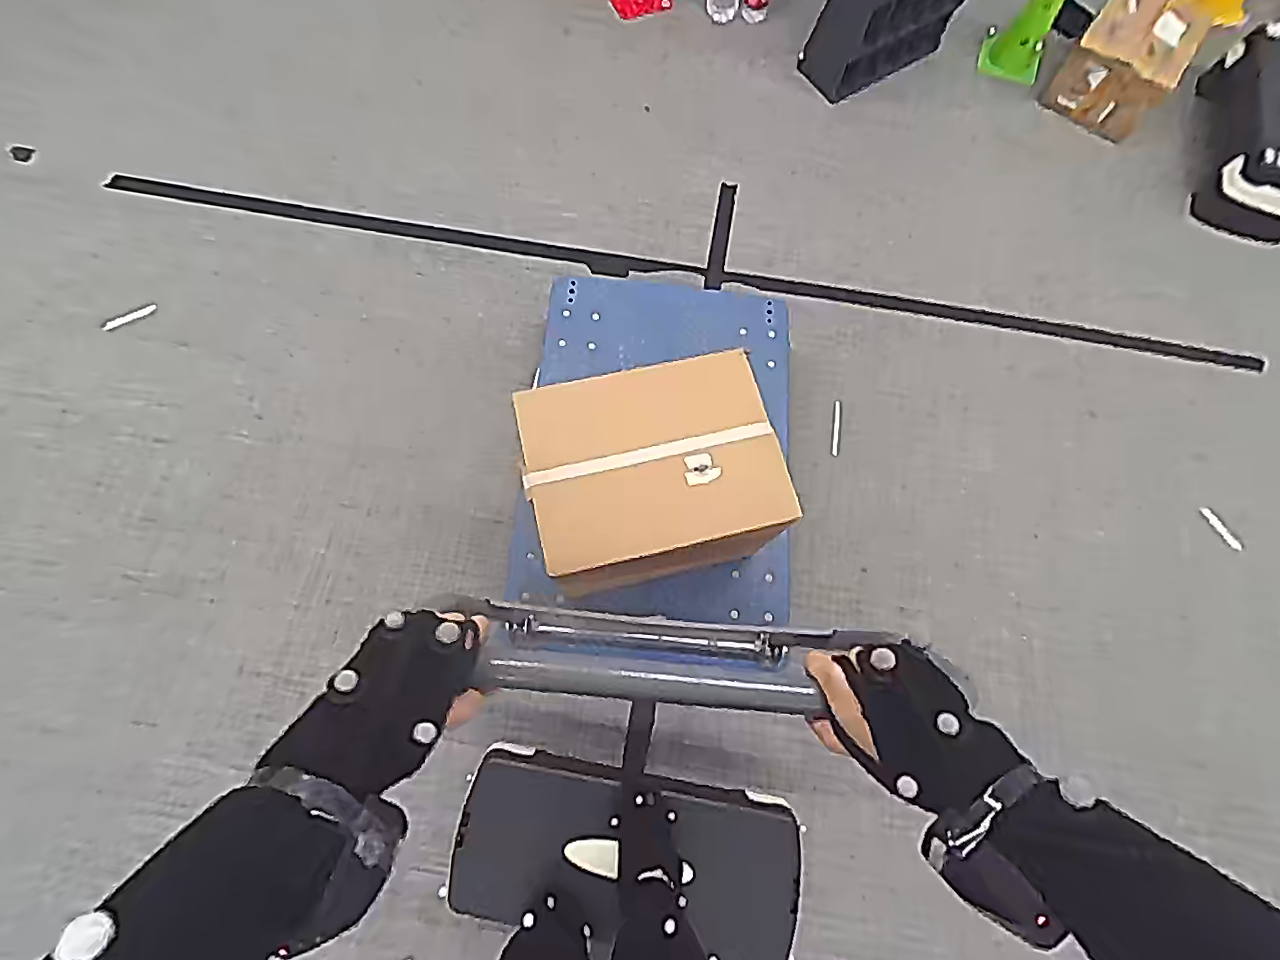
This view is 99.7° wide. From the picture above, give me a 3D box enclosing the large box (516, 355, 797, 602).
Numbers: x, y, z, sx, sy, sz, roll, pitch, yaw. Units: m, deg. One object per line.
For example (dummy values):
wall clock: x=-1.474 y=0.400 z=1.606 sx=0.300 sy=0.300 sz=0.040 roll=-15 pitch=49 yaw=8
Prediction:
large box: x=0.012 y=0.013 z=1.012 sx=0.408 sy=0.320 sz=0.320 roll=-12 pitch=73 yaw=-8
